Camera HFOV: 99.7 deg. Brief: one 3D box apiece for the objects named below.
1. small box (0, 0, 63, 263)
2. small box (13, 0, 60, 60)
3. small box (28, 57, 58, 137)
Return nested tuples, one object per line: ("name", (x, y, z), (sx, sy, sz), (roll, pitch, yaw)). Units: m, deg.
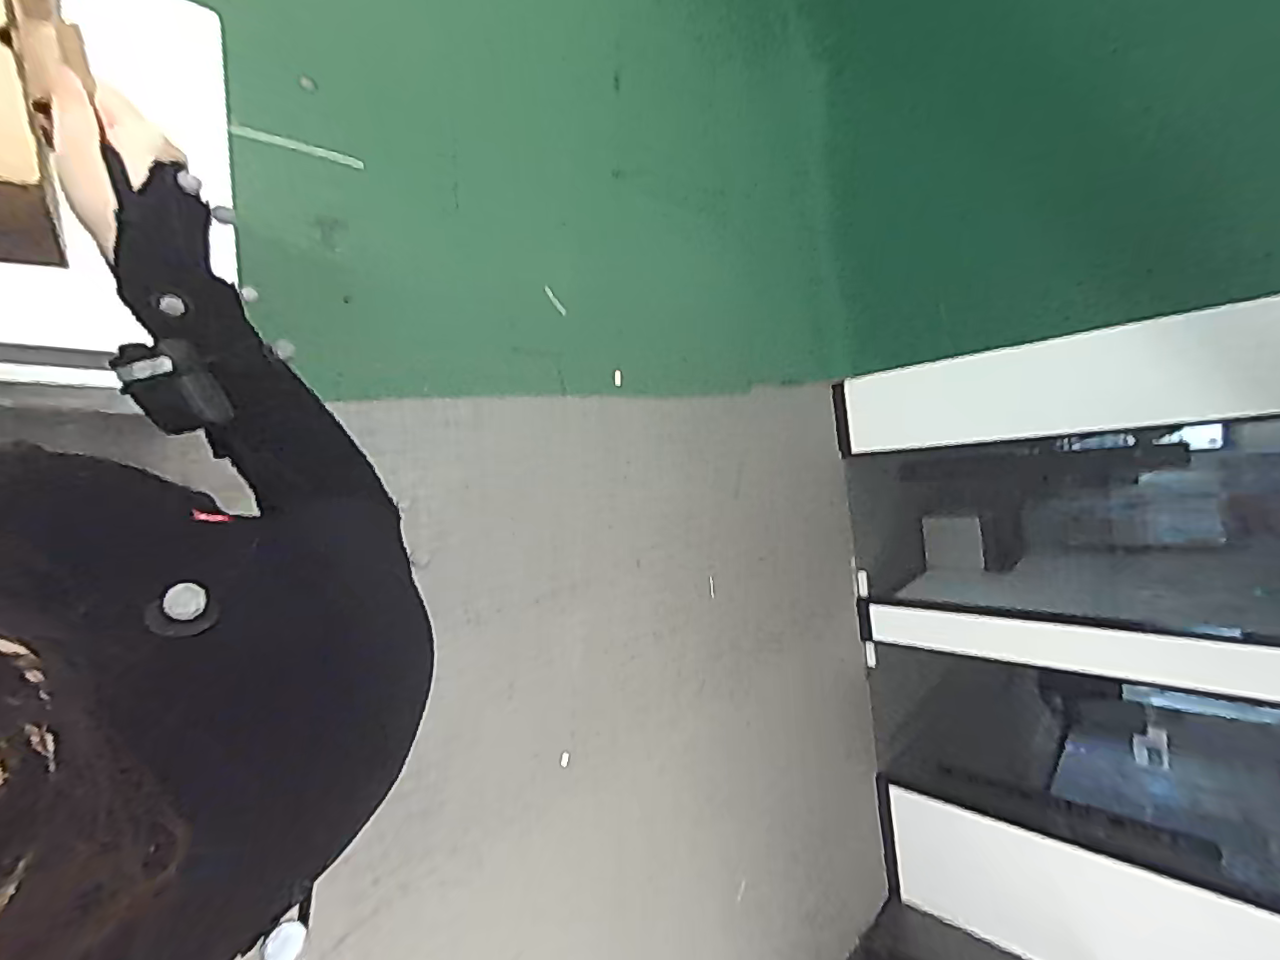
("small box", (-0.470, -0.235, 0.303), (0.179, 0.176, 0.168), (-11, 98, -43))
("small box", (-0.596, -0.496, 0.432), (0.179, 0.176, 0.168), (1, 87, -45))
("small box", (-0.714, -0.492, 0.545), (0.168, 0.176, 0.179), (-3, 90, -46))
